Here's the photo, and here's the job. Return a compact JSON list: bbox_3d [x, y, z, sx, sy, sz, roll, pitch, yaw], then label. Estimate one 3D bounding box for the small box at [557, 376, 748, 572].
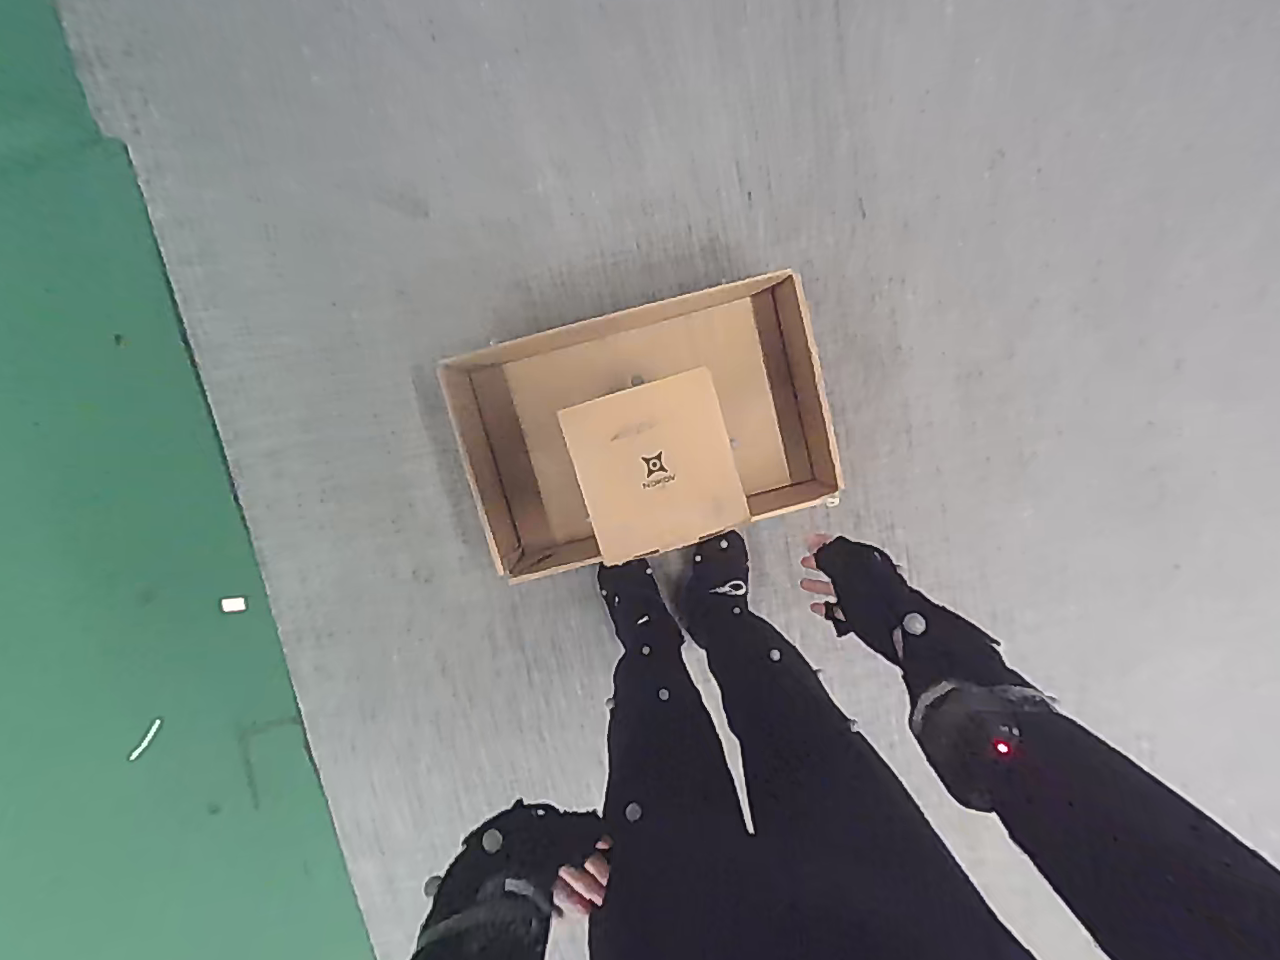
[{"bbox_3d":[0.014,-0.013,0.646,0.168,0.176,0.179,-17,96,0],"label":"small box"}]
